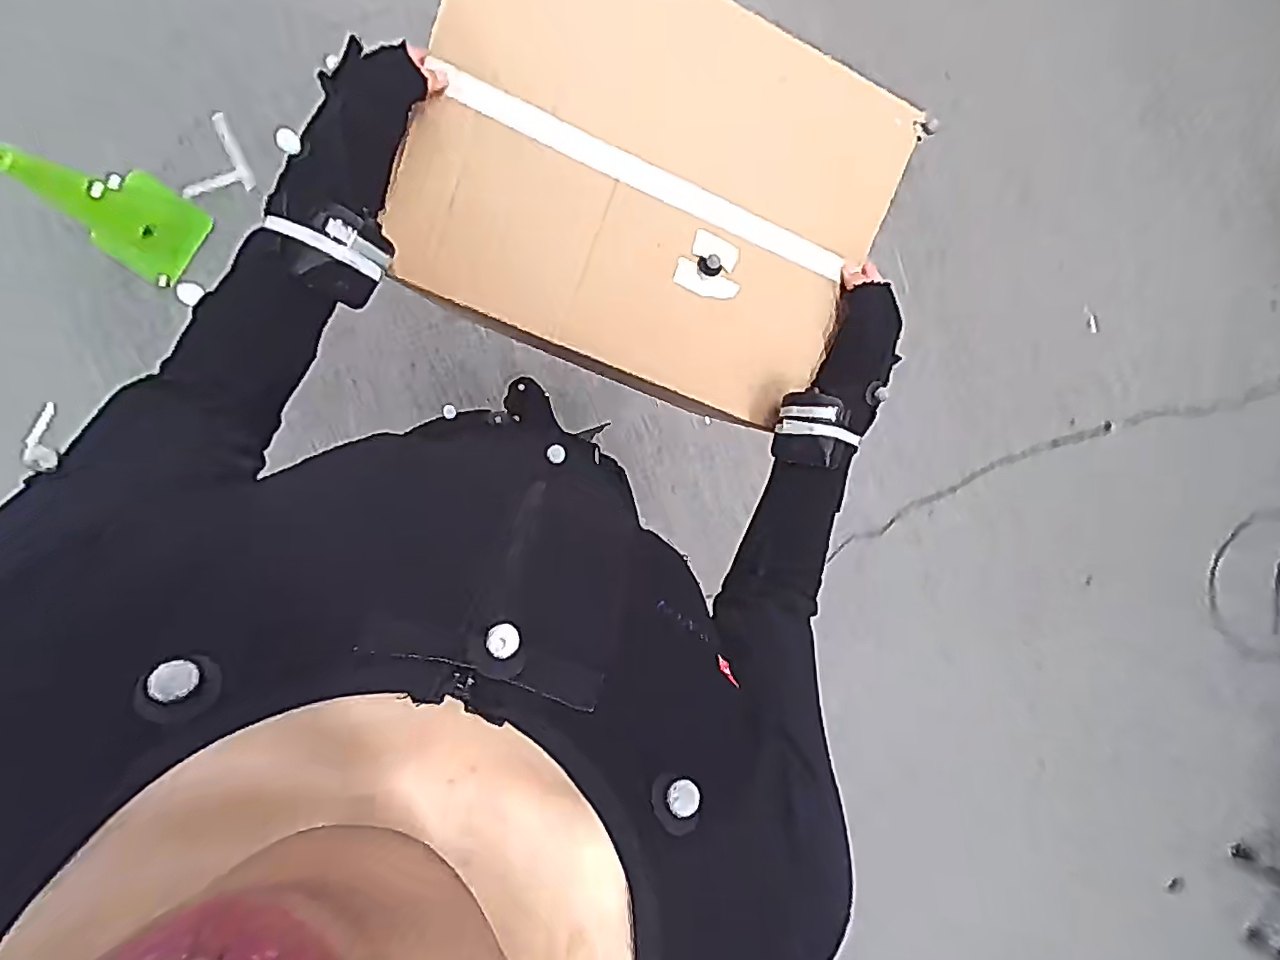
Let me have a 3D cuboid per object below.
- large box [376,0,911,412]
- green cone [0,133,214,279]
[{"bbox_3d":[-0.011,-0.292,0.611,0.408,0.320,0.320,19,98,-12],"label":"large box"},{"bbox_3d":[-1.109,-0.587,1.094,0.202,0.368,0.200,33,90,-8],"label":"green cone"}]
